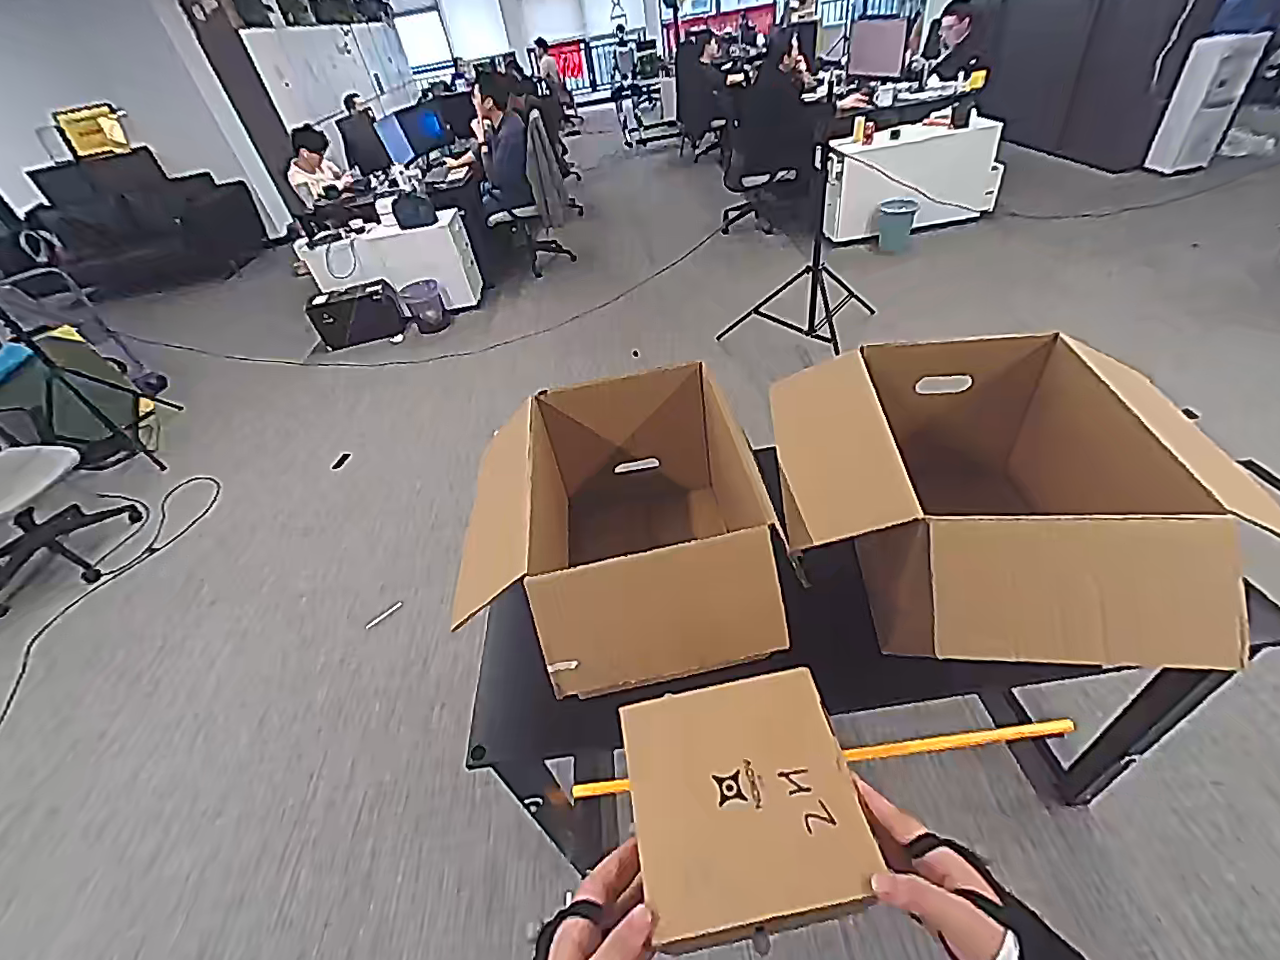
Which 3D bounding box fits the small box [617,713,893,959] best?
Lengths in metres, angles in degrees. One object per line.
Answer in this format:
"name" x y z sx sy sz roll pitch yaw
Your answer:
"small box" 0.086 0.330 0.472 0.179 0.176 0.168 -11 47 -1
